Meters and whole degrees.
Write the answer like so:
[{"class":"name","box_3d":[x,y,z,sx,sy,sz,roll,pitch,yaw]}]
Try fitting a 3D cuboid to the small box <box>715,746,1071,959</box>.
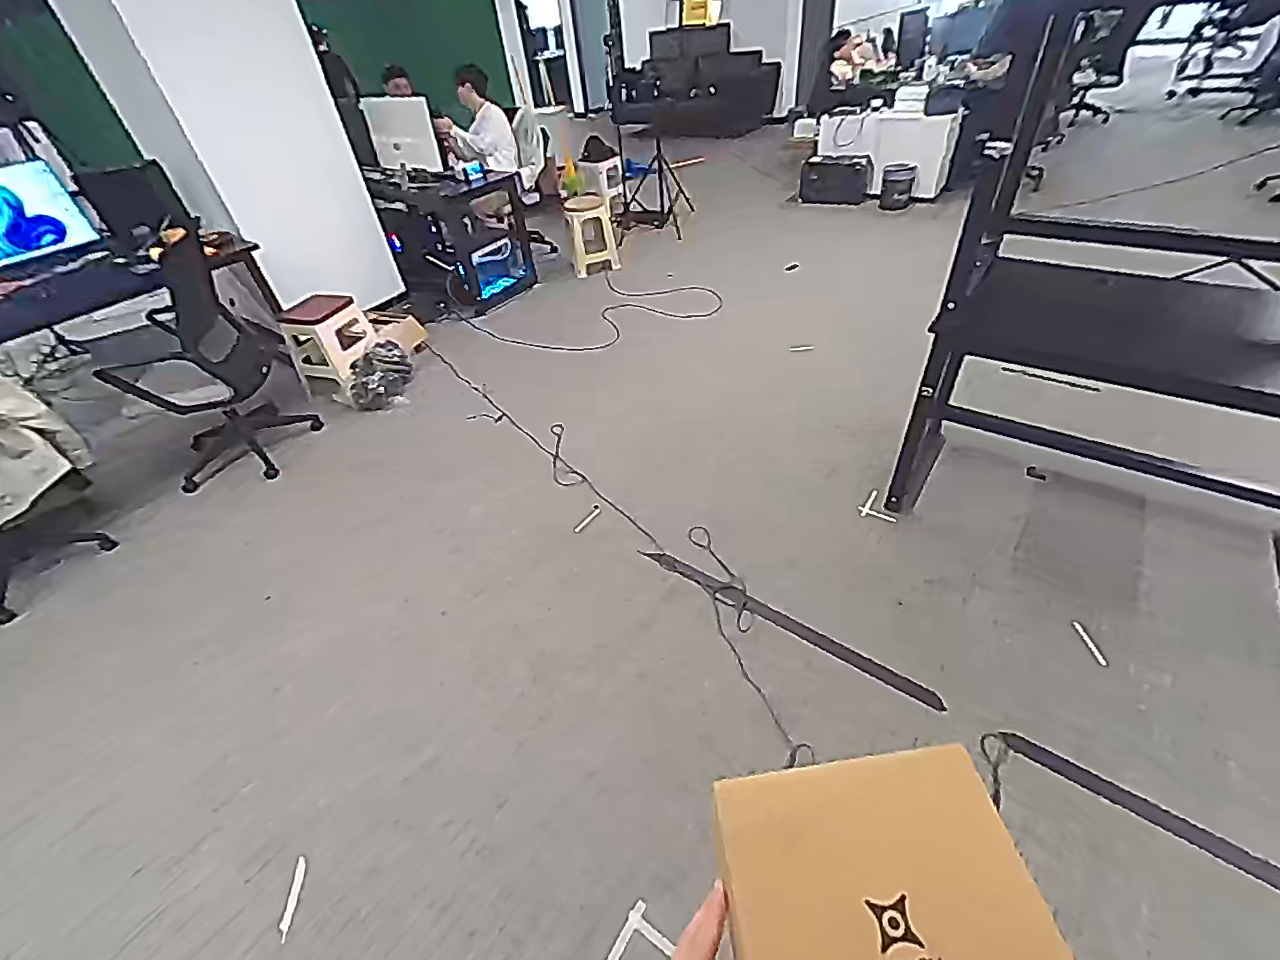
[{"class":"small box","box_3d":[0.143,0.299,0.342,0.168,0.176,0.179,-9,44,0]}]
